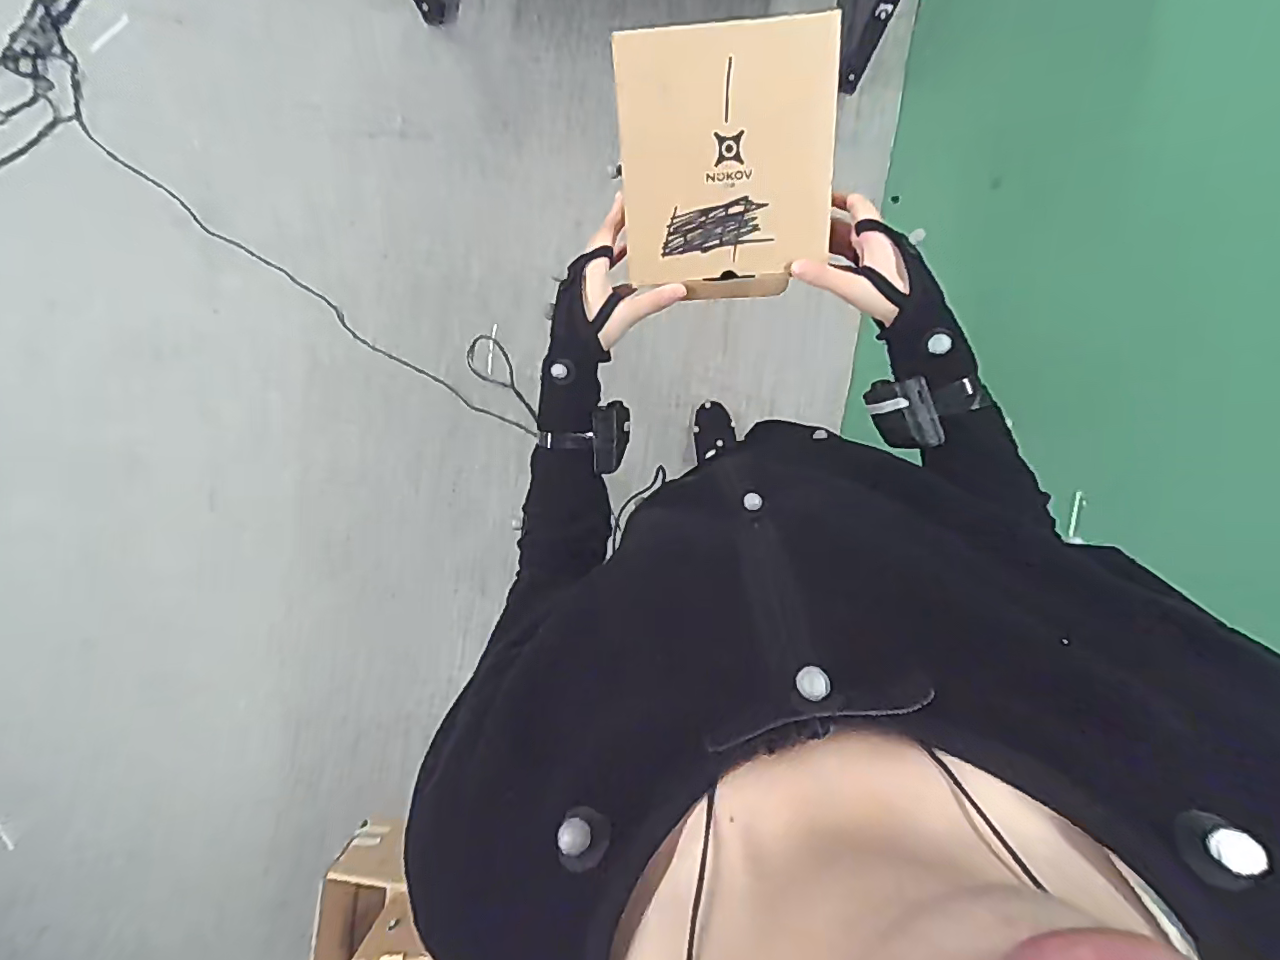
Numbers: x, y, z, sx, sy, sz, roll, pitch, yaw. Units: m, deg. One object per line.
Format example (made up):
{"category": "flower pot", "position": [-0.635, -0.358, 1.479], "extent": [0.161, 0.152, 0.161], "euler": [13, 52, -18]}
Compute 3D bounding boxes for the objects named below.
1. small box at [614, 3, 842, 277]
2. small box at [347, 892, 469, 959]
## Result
{"category": "small box", "position": [0.068, -0.287, 0.493], "extent": [0.168, 0.176, 0.179], "euler": [-3, 113, 1]}
{"category": "small box", "position": [-0.454, 0.963, 1.079], "extent": [0.168, 0.176, 0.179], "euler": [-5, 92, 3]}
